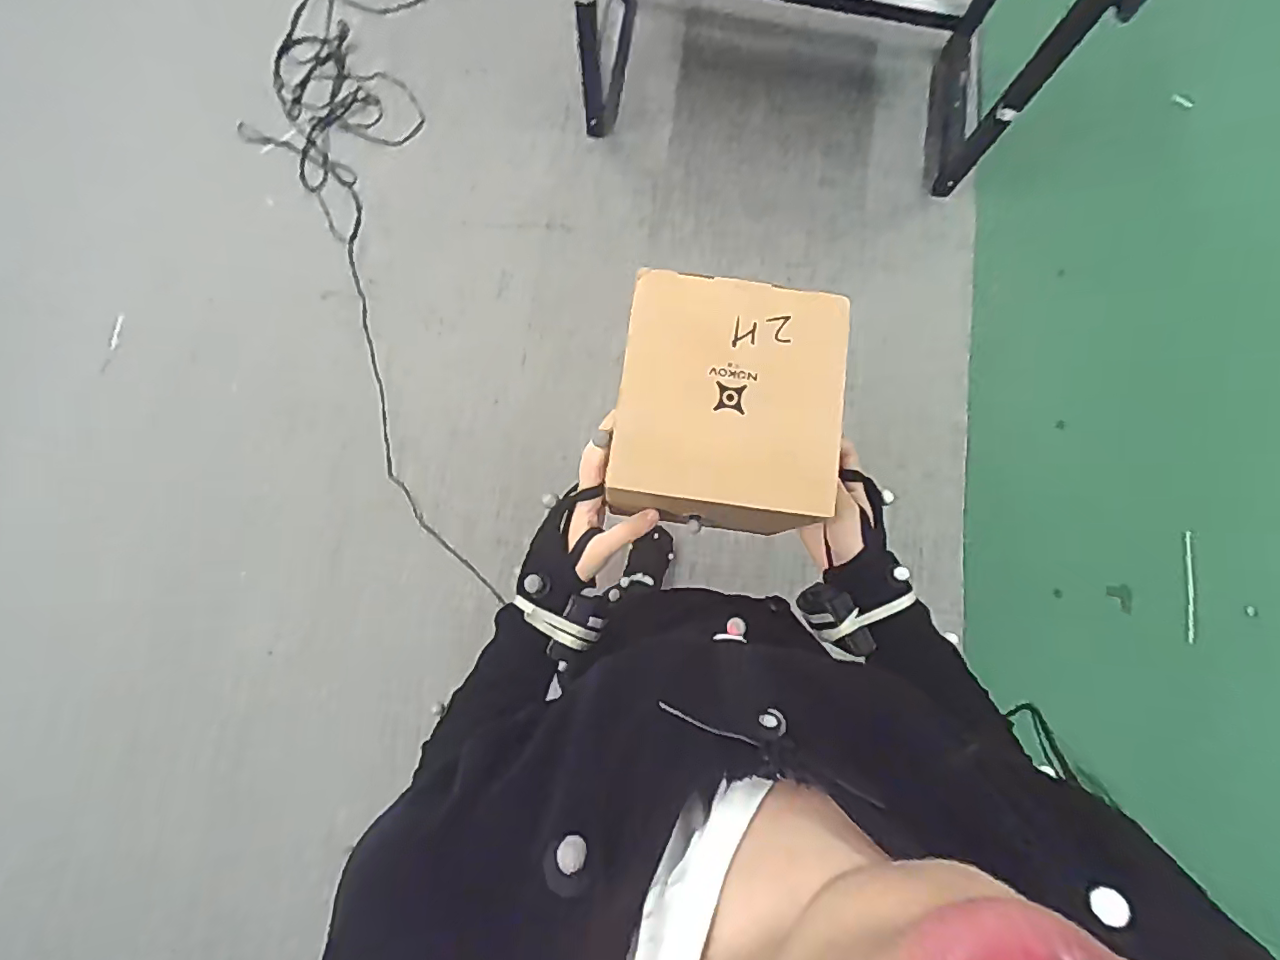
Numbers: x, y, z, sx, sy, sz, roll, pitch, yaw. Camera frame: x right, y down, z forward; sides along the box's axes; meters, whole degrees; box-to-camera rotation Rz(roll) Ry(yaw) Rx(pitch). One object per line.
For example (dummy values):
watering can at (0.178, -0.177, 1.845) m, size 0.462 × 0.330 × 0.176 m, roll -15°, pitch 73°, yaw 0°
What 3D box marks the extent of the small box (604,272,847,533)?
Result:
small box at (0.065, -0.052, 0.481) m, size 0.168 × 0.176 × 0.179 m, roll 8°, pitch 79°, yaw -1°
